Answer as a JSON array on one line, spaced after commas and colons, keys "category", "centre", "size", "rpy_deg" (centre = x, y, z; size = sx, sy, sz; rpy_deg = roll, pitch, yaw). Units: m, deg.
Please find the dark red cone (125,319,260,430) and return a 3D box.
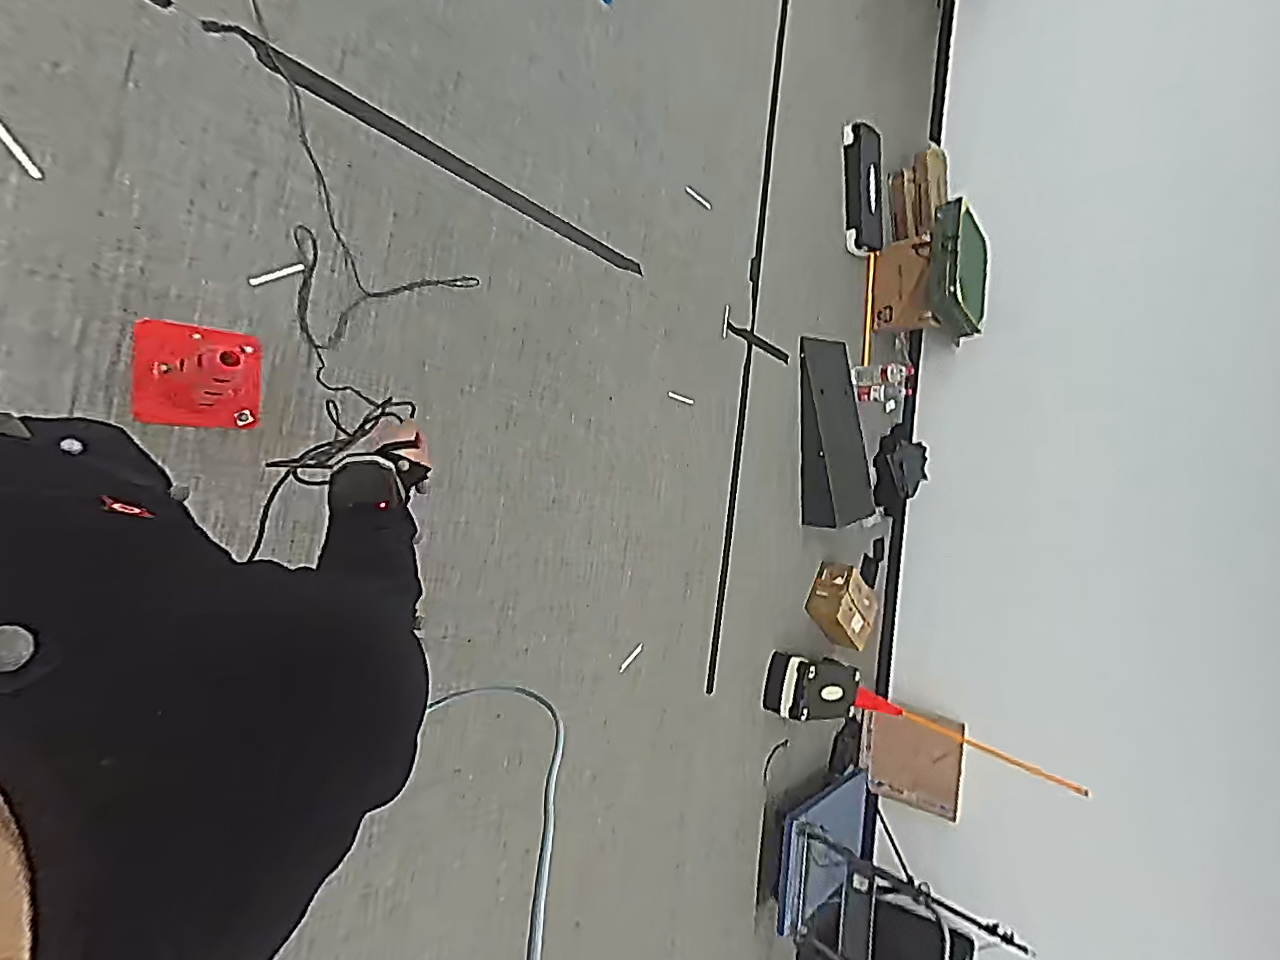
[{"category": "dark red cone", "centre": [-0.745, -0.193, 0.934], "size": [0.202, 0.394, 0.201], "rpy_deg": [0, 92, -45]}]
